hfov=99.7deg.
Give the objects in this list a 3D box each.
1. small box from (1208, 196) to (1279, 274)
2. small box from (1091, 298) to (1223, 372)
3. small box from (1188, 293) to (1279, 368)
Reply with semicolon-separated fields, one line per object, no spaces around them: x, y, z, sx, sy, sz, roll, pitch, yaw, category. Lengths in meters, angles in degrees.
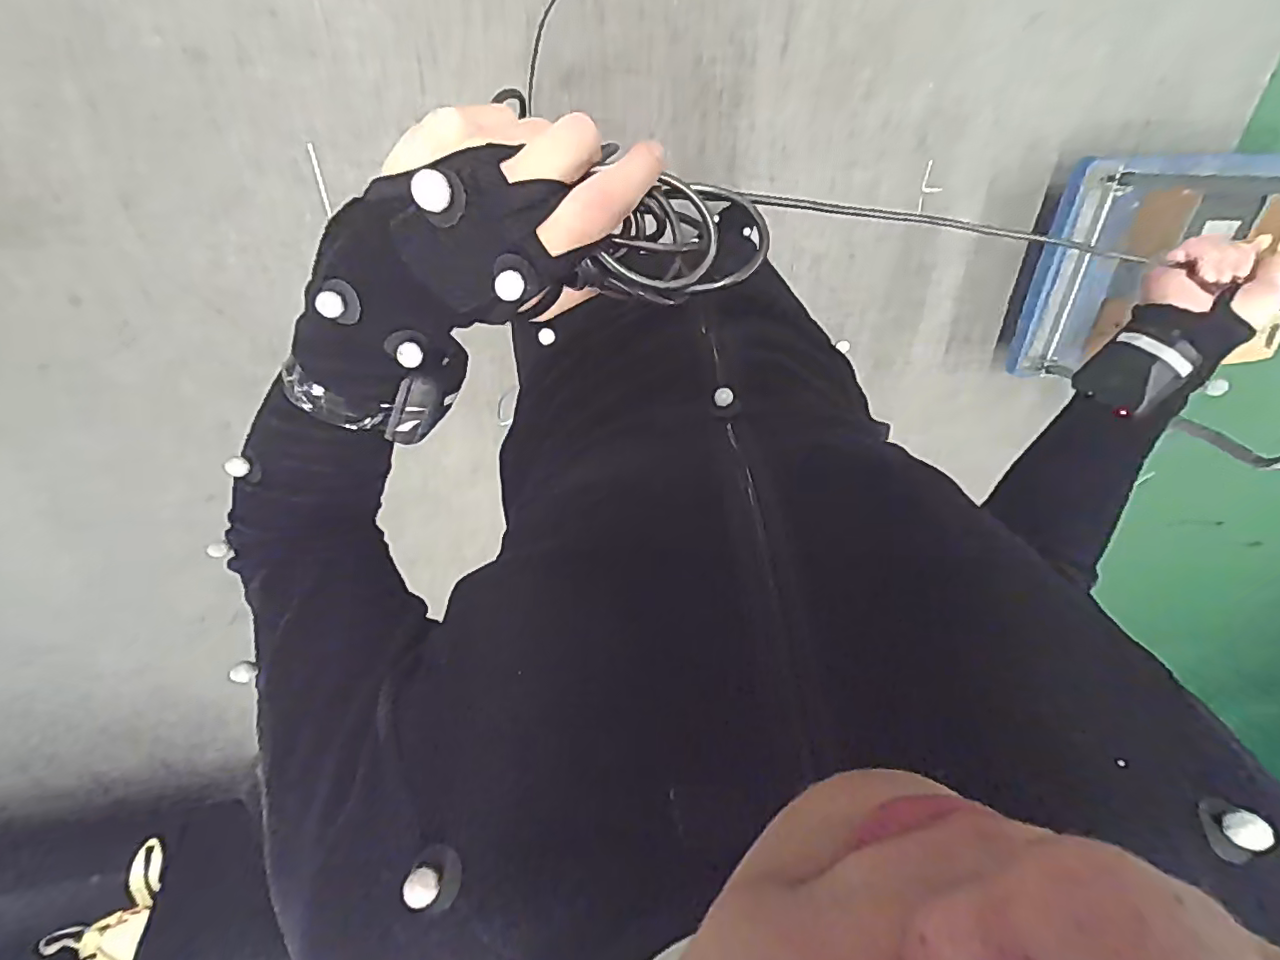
1.690;-0.652;1.432;0.179;0.176;0.168;-9;122;-6;small box
1.444;-0.412;1.523;0.179;0.176;0.168;-4;121;-8;small box
1.710;-0.436;1.561;0.179;0.176;0.168;-8;120;-5;small box
